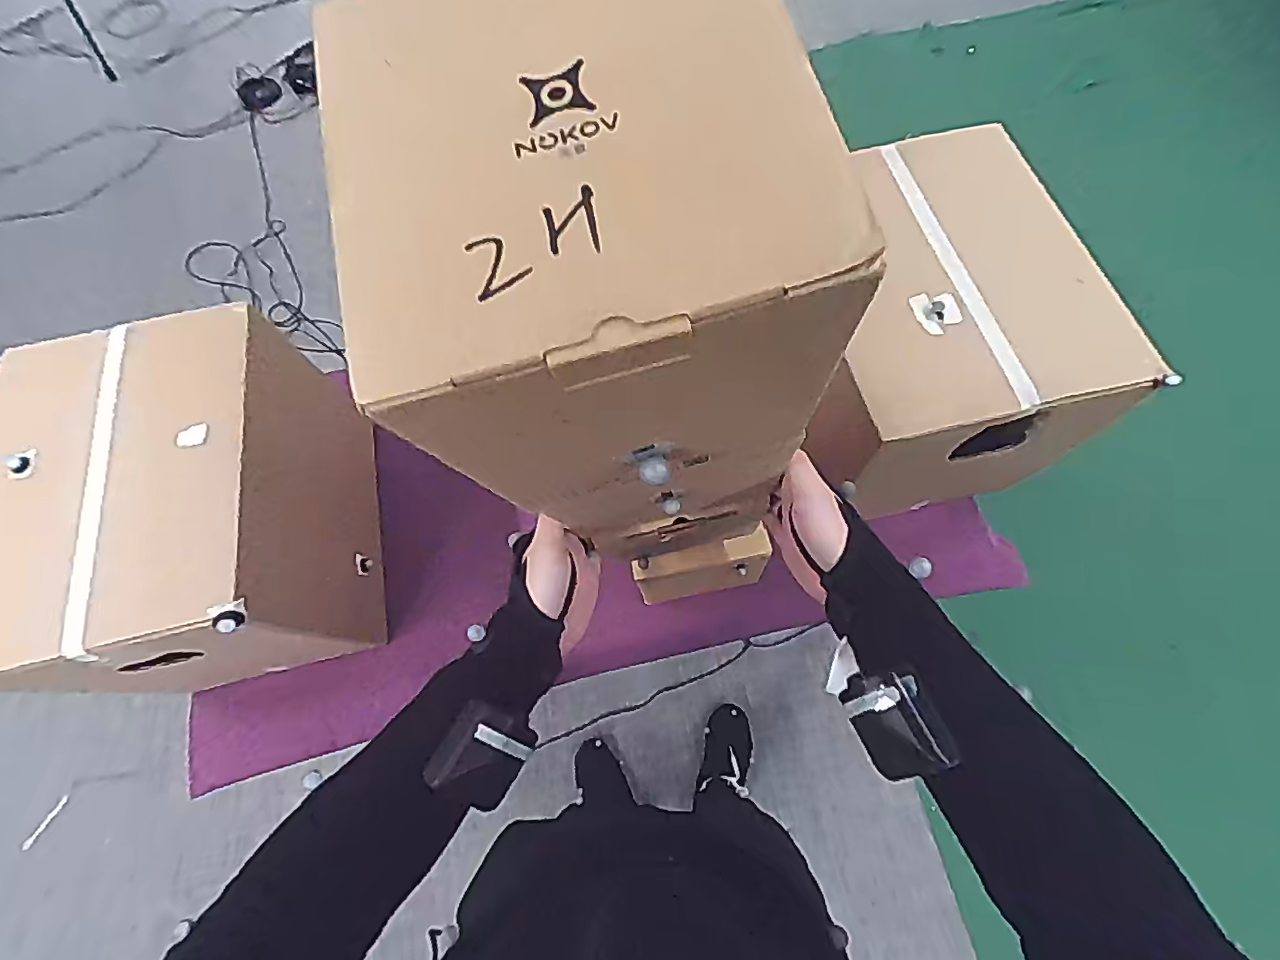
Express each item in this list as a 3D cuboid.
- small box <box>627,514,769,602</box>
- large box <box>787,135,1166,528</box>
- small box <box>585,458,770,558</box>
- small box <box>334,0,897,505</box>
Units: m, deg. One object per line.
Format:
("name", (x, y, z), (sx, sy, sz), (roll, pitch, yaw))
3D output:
("small box", (0.066, 0.065, 0.763), (0.179, 0.176, 0.168), (-11, 66, -1))
("large box", (0.368, -0.189, 0.770), (0.320, 0.320, 0.408), (-13, 68, 0))
("small box", (0.029, -0.019, 0.576), (0.168, 0.176, 0.179), (-13, 74, 2))
("small box", (-0.013, -0.102, 0.260), (0.168, 0.176, 0.179), (-14, 75, 3))
